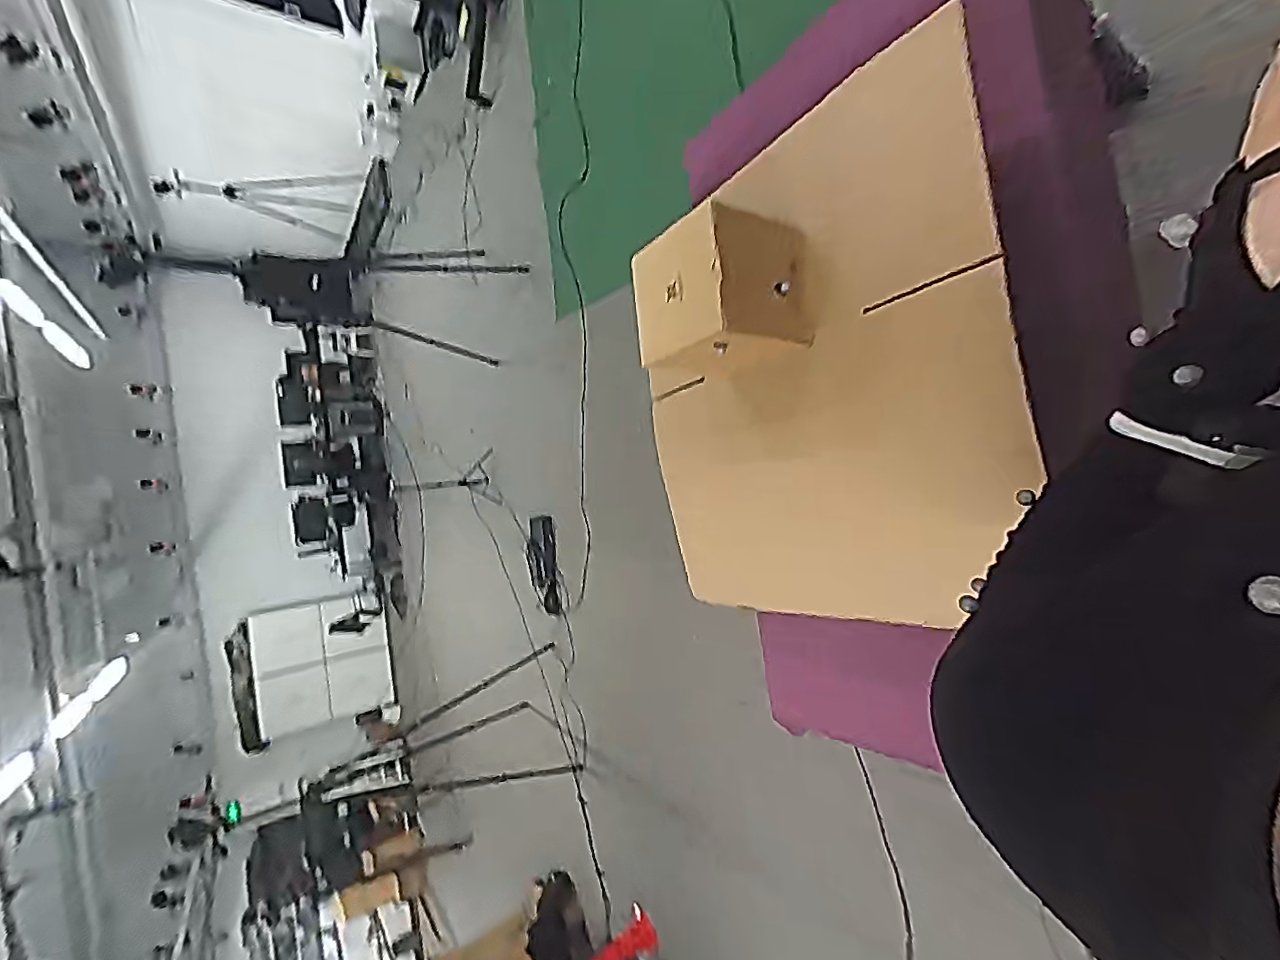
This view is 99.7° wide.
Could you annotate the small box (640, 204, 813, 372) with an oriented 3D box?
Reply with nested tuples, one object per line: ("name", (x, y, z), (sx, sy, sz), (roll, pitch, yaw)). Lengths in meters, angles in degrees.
("small box", (0.122, -0.259, 0.780), (0.179, 0.176, 0.168), (-9, 85, 54))
